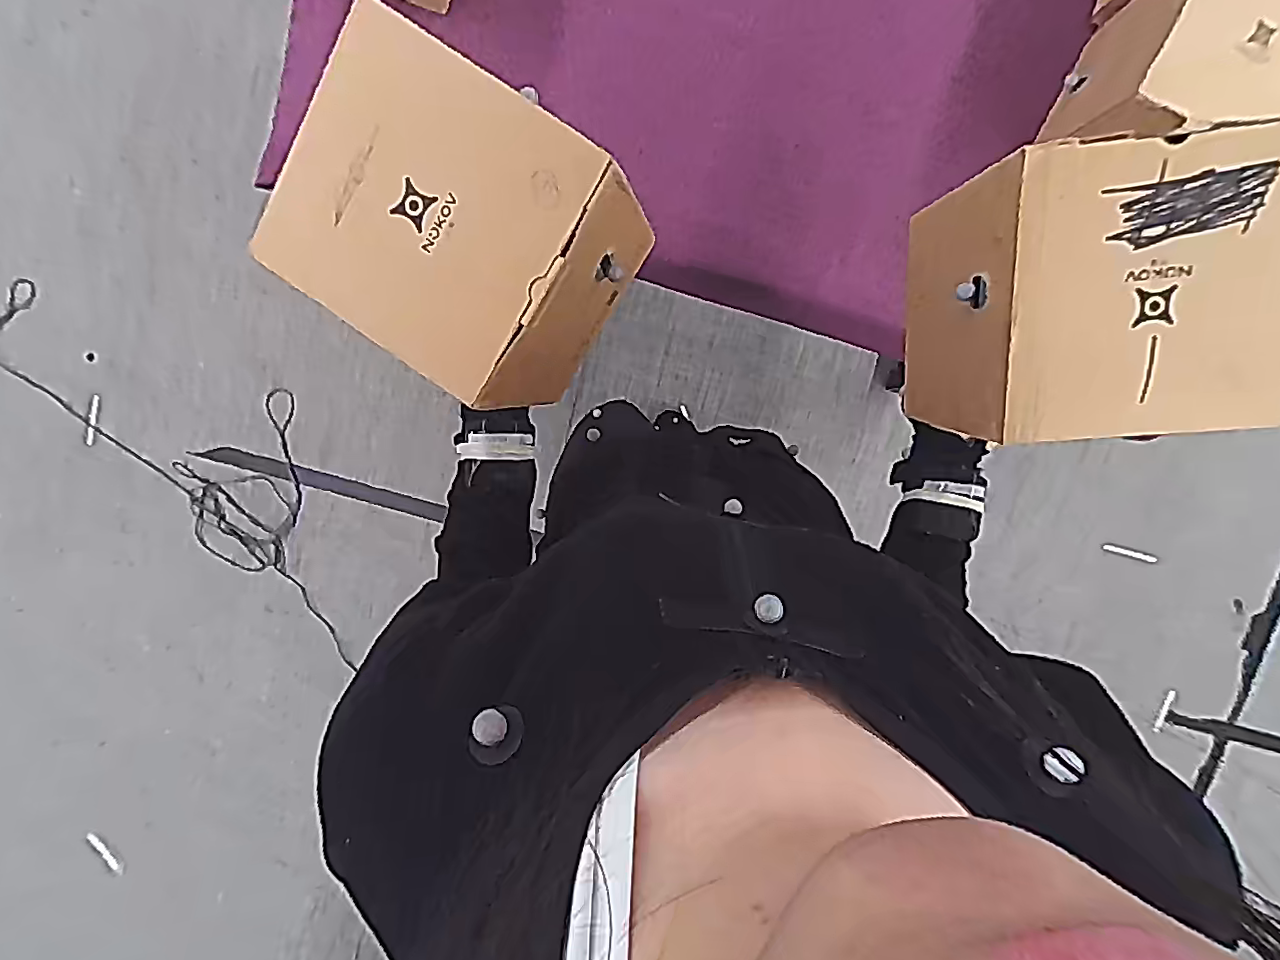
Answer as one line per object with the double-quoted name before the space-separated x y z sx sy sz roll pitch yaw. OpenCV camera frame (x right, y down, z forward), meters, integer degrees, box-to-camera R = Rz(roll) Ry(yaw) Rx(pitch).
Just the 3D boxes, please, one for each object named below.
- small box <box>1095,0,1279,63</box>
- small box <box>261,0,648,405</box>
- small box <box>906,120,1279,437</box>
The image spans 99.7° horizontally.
"small box" 0.657 -0.615 0.584 0.168 0.176 0.179 19 97 -3
"small box" -0.111 -0.172 0.396 0.179 0.176 0.168 34 102 3
"small box" 0.316 -0.133 0.404 0.168 0.176 0.179 -3 103 6
